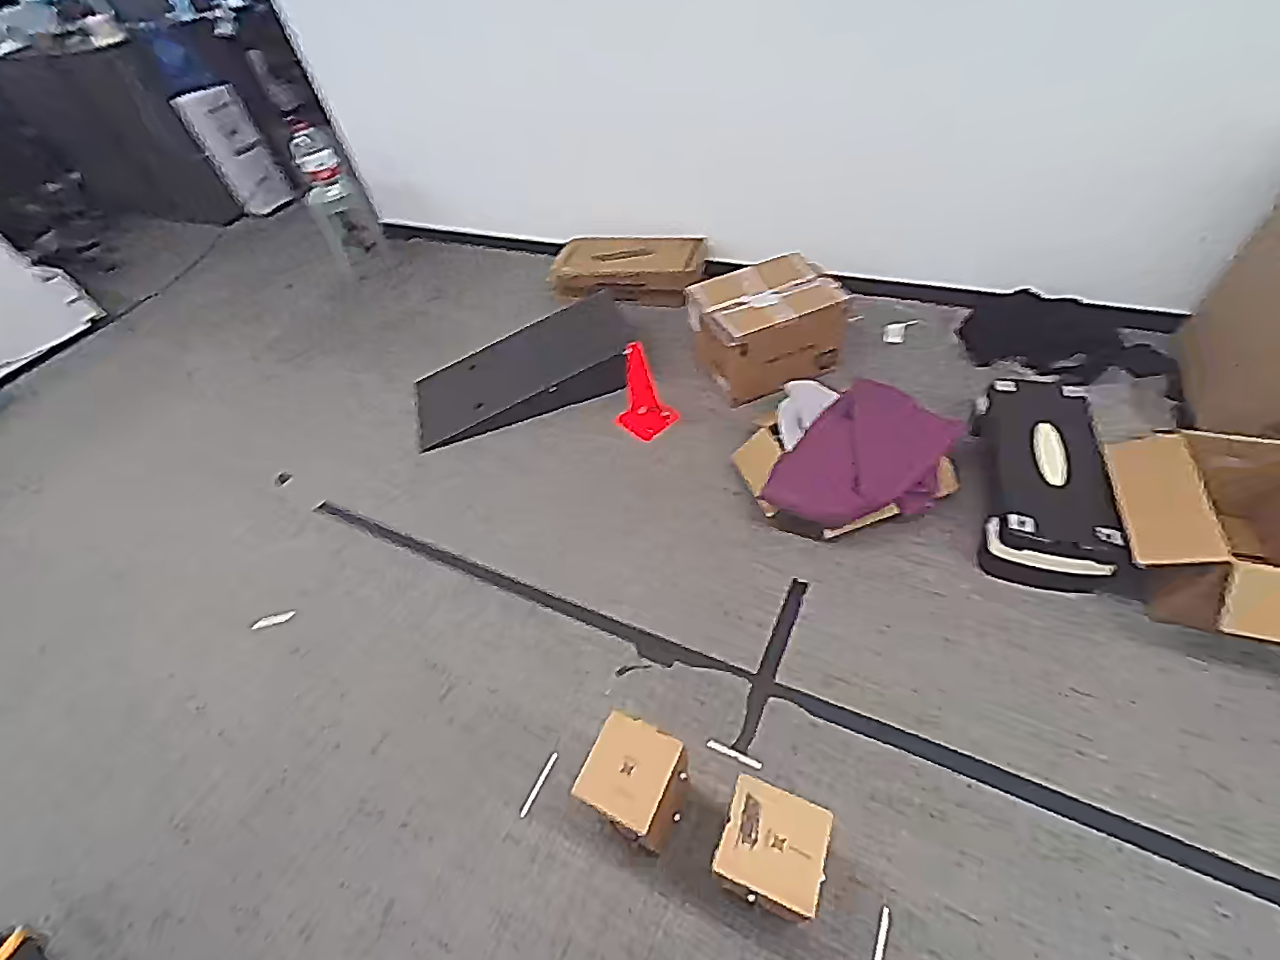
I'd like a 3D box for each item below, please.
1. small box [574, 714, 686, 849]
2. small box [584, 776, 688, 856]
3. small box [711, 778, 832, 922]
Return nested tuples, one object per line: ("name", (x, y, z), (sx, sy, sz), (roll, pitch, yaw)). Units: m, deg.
("small box", (-0.011, 0.624, 1.120), (0.168, 0.176, 0.179), (16, 55, 23))
("small box", (0.001, 0.731, 1.242), (0.179, 0.176, 0.168), (18, 55, 24))
("small box", (0.243, 0.697, 1.013), (0.179, 0.176, 0.168), (15, 54, 20))
